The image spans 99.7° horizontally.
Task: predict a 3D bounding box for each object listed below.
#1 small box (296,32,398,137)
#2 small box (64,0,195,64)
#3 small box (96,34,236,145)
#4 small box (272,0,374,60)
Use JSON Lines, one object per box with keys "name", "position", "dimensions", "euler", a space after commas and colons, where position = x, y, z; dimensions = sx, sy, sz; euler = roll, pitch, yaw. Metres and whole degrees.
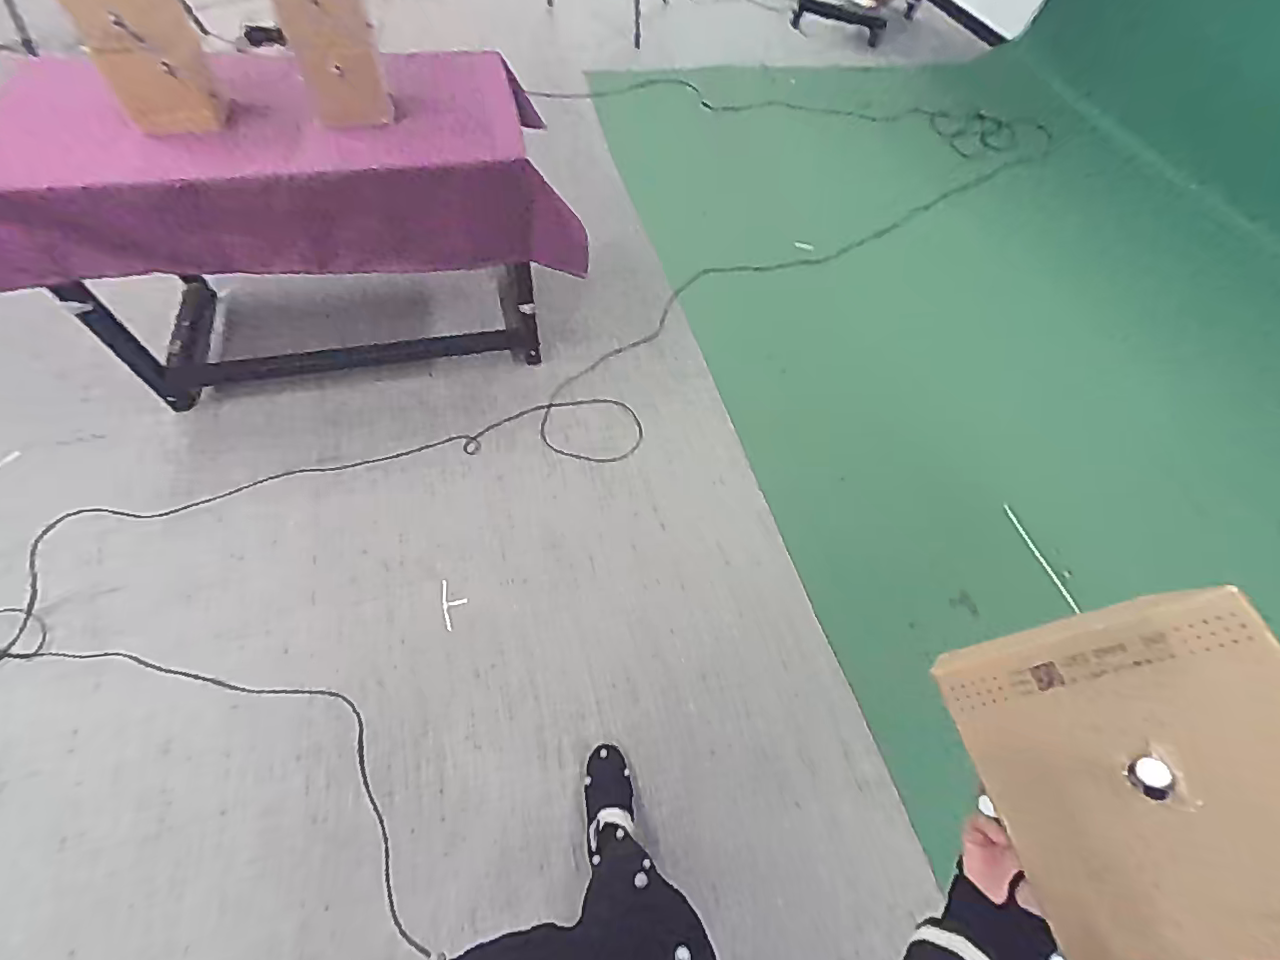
{"name": "small box", "position": [-0.716, -0.976, 1.338], "dimensions": [0.179, 0.176, 0.168], "euler": [-10, 60, -12]}
{"name": "small box", "position": [-1.076, -1.004, 1.130], "dimensions": [0.168, 0.176, 0.179], "euler": [-12, 59, -12]}
{"name": "small box", "position": [-1.095, -0.910, 1.265], "dimensions": [0.179, 0.176, 0.168], "euler": [-11, 59, -13]}
{"name": "small box", "position": [-0.704, -1.064, 1.200], "dimensions": [0.179, 0.176, 0.168], "euler": [-11, 60, -11]}
